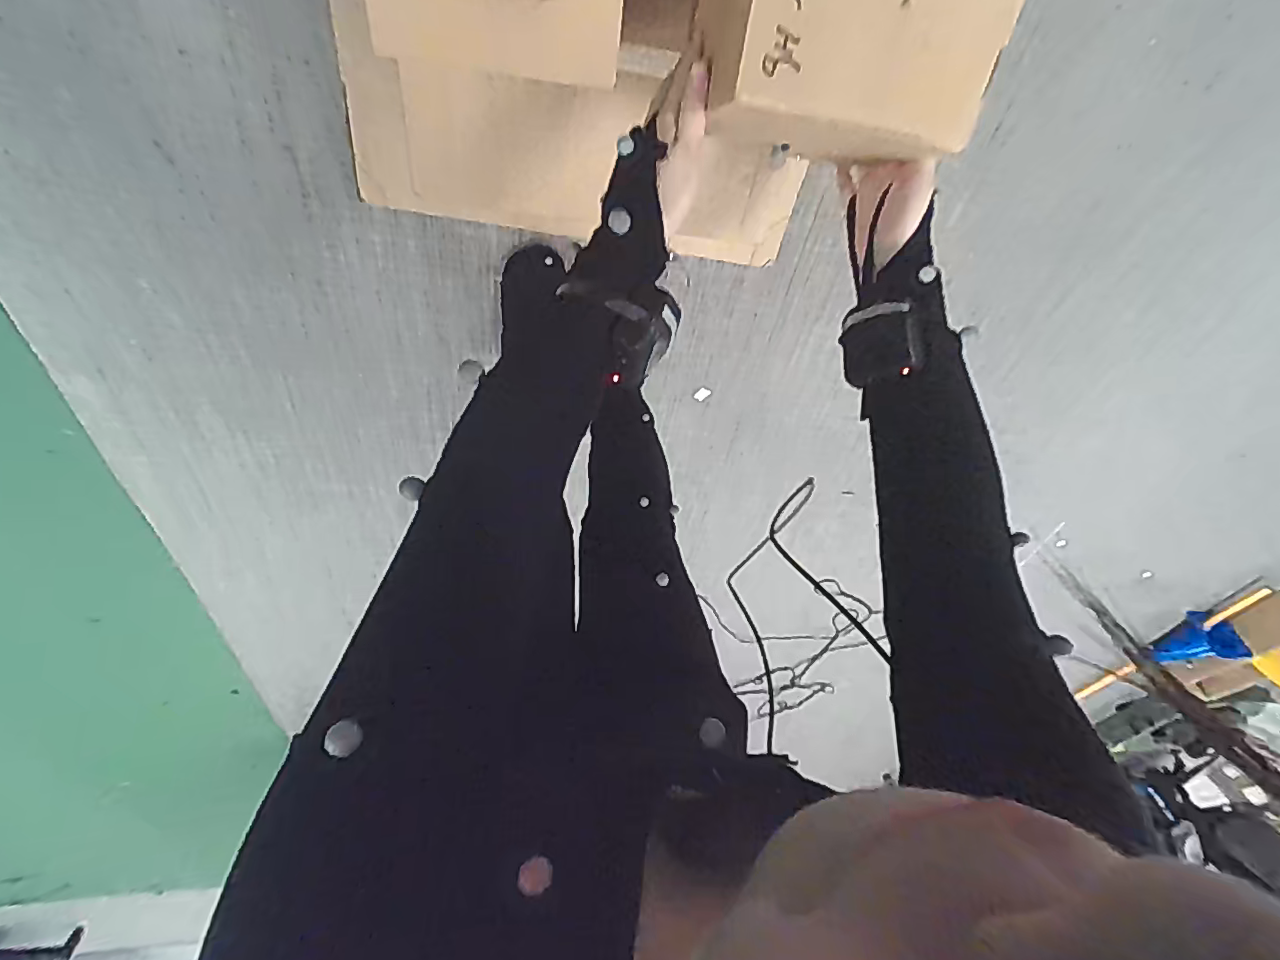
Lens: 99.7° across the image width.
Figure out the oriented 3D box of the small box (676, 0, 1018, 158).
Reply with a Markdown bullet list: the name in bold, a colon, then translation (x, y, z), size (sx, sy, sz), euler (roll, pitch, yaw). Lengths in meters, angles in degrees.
- **small box**: translation (0.141, -0.343, 0.391), size (0.179, 0.176, 0.168), euler (3, 116, -13)

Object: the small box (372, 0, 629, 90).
- **small box**: translation (-0.092, -0.400, 0.377), size (0.168, 0.176, 0.179), euler (1, 132, -10)

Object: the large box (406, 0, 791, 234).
- **large box**: translation (-0.039, -0.510, 0.620), size (0.408, 0.320, 0.320), euler (1, 133, -12)
